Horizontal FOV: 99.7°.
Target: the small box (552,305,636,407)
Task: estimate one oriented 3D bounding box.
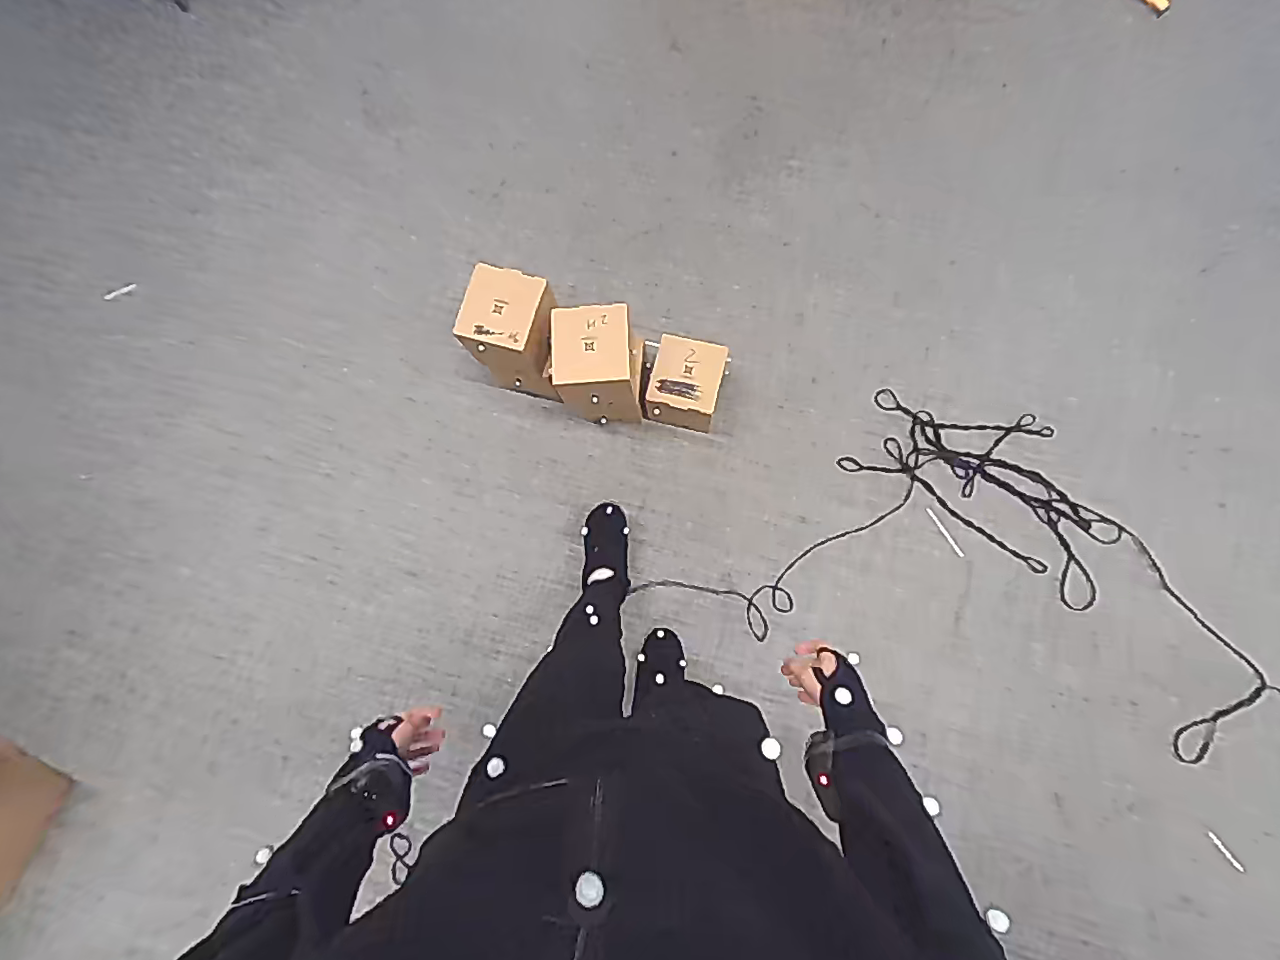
[{"bbox_3d":[-0.098,-0.268,1.216,0.168,0.176,0.179,-3,79,4],"label":"small box"}]

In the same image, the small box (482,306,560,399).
[{"bbox_3d":[-0.278,-0.323,1.404,0.179,0.176,0.168,14,80,7],"label":"small box"}]
